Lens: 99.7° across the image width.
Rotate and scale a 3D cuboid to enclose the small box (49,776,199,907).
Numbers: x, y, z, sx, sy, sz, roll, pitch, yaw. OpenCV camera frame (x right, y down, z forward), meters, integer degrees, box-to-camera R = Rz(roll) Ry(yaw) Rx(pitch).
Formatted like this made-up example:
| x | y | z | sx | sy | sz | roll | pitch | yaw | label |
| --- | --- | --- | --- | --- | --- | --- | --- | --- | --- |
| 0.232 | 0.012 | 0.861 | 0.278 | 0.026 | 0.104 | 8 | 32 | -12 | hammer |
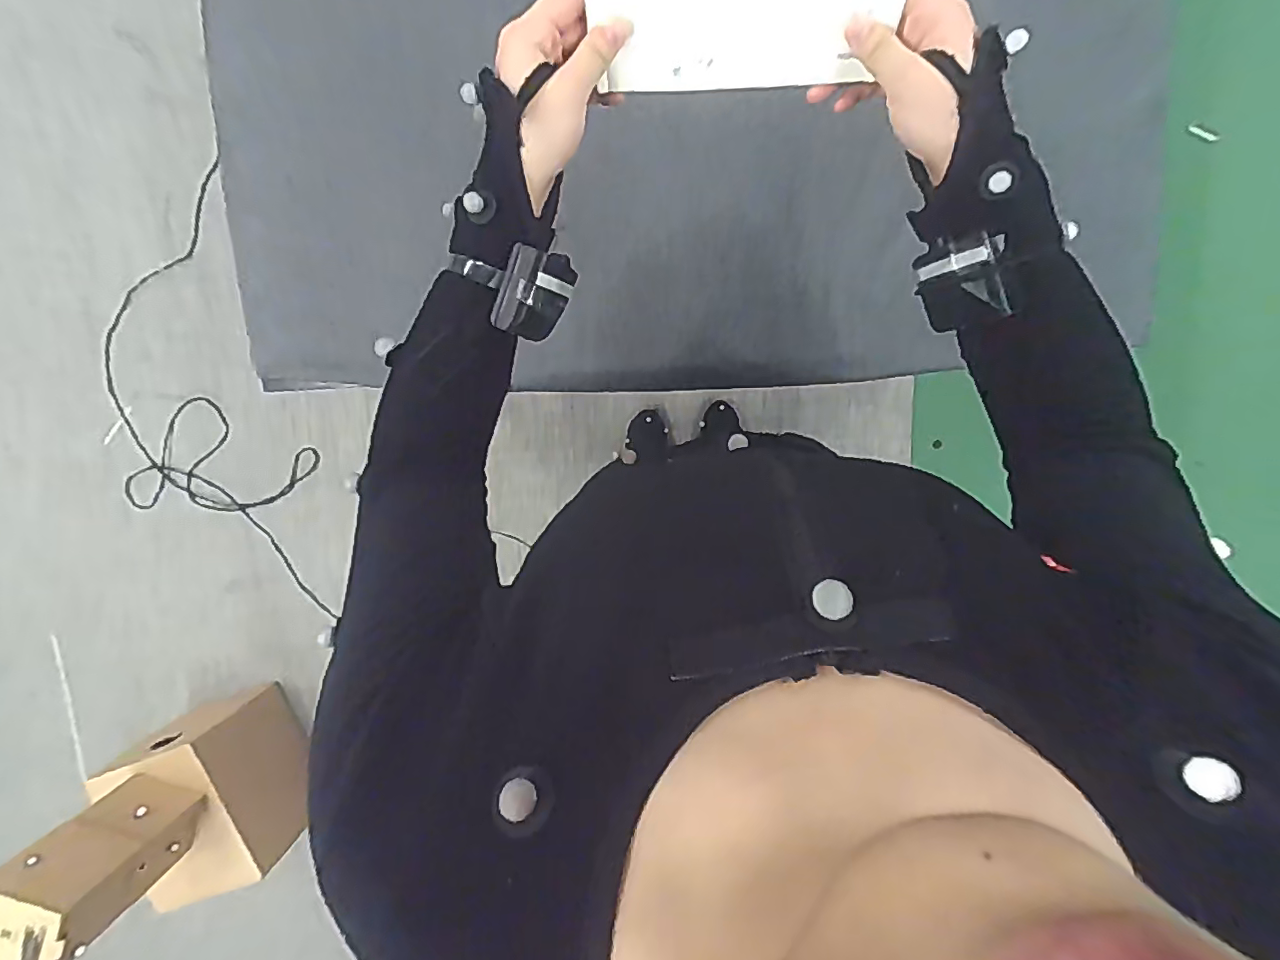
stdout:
| x | y | z | sx | sy | sz | roll | pitch | yaw | label |
| --- | --- | --- | --- | --- | --- | --- | --- | --- | --- |
| -1.177 | 0.824 | 1.248 | 0.179 | 0.176 | 0.168 | 19 | 97 | -3 | small box |
